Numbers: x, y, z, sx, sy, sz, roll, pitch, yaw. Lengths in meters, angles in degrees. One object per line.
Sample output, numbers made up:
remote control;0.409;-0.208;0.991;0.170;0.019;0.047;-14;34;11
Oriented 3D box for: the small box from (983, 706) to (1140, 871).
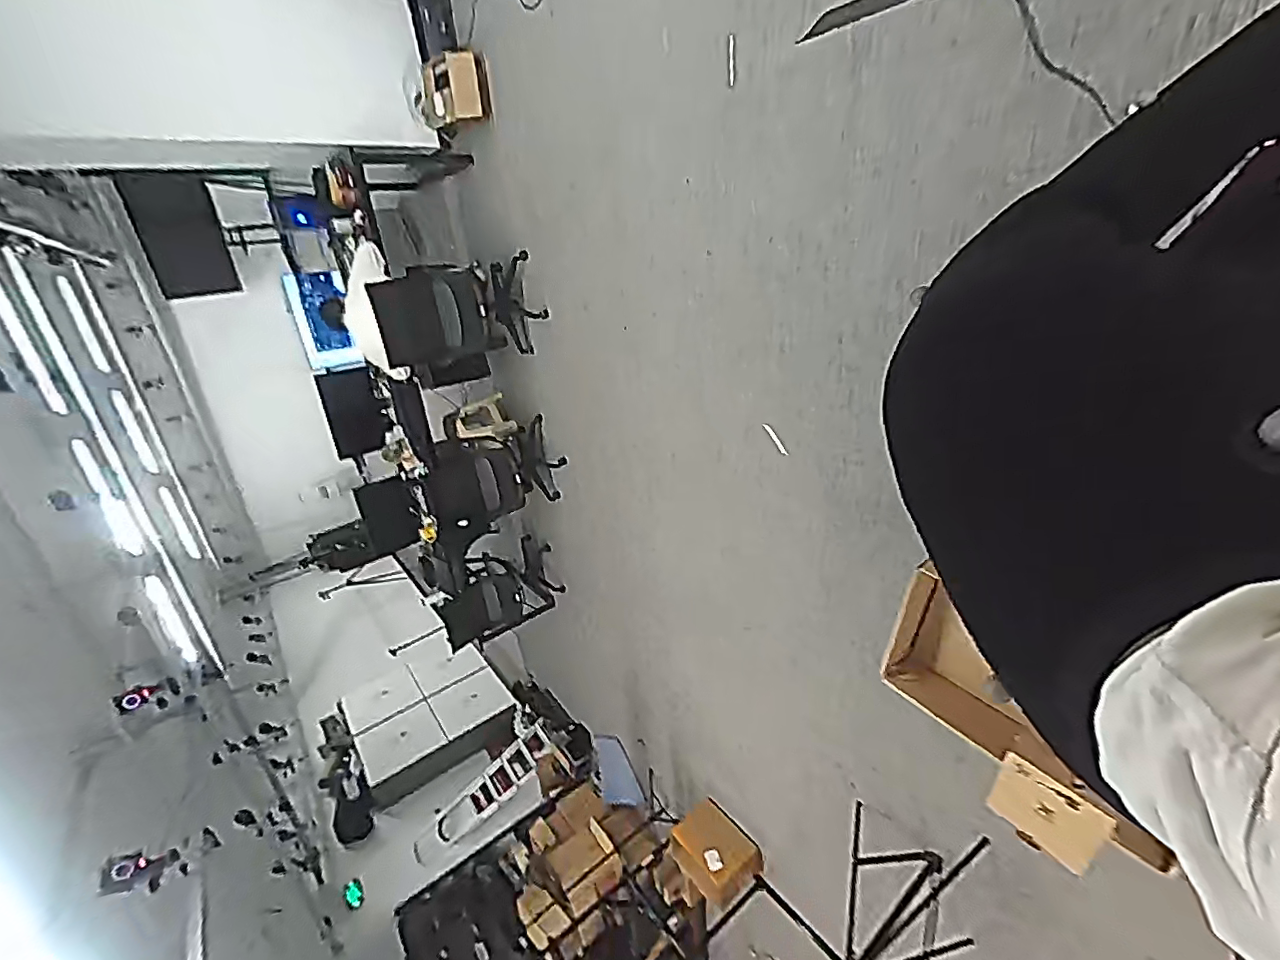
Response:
small box;0.798;0.577;1.028;0.168;0.176;0.179;32;134;45
